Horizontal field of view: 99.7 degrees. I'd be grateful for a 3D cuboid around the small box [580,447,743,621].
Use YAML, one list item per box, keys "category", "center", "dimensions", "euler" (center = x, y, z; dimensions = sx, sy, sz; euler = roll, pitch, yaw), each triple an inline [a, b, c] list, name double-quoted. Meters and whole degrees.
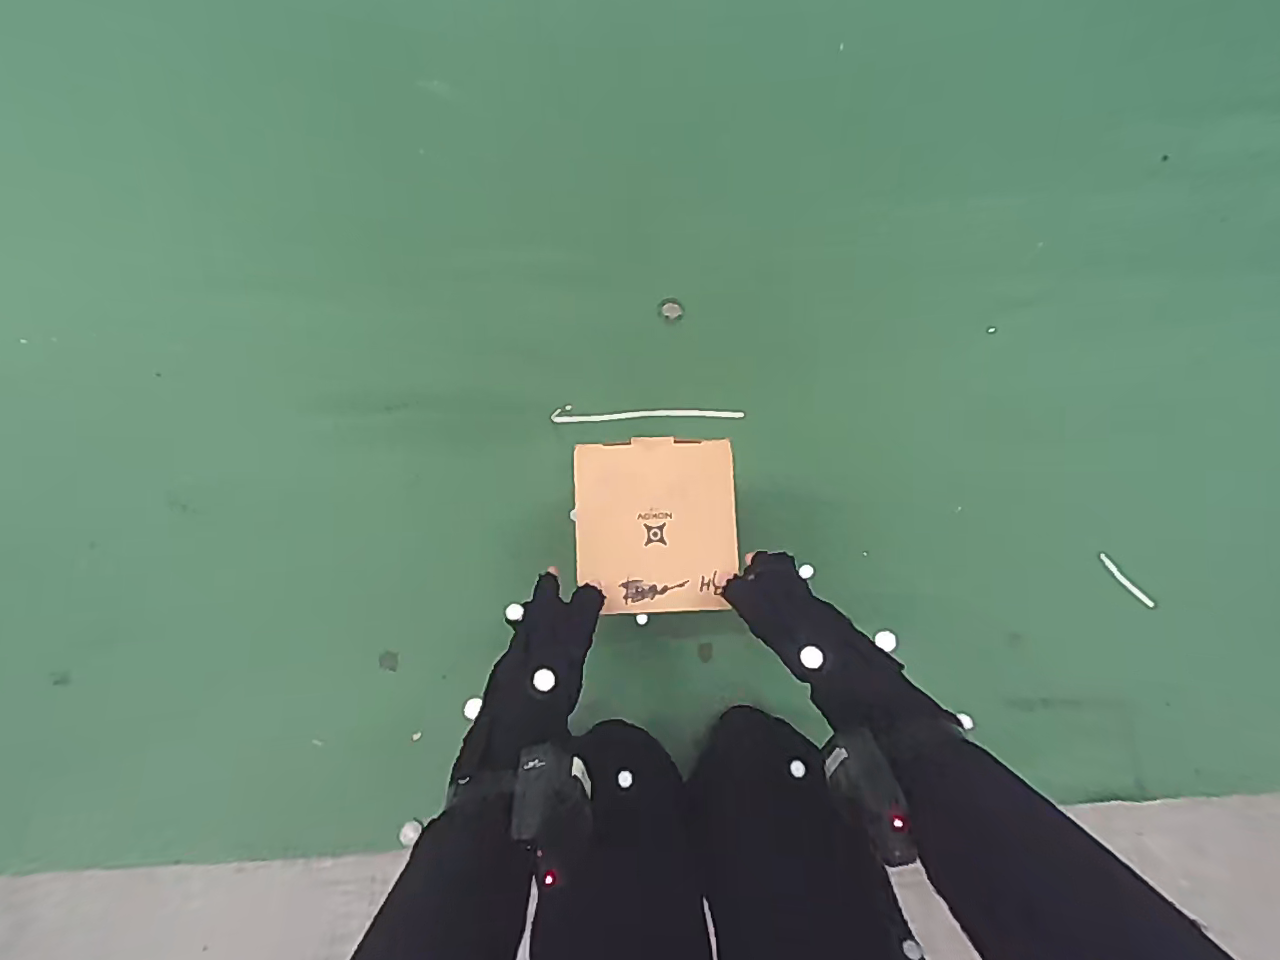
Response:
- category: "small box"
  center: [0.019, 0.063, 0.628]
  dimensions: [0.168, 0.176, 0.179]
  euler: [-2, 84, 0]
